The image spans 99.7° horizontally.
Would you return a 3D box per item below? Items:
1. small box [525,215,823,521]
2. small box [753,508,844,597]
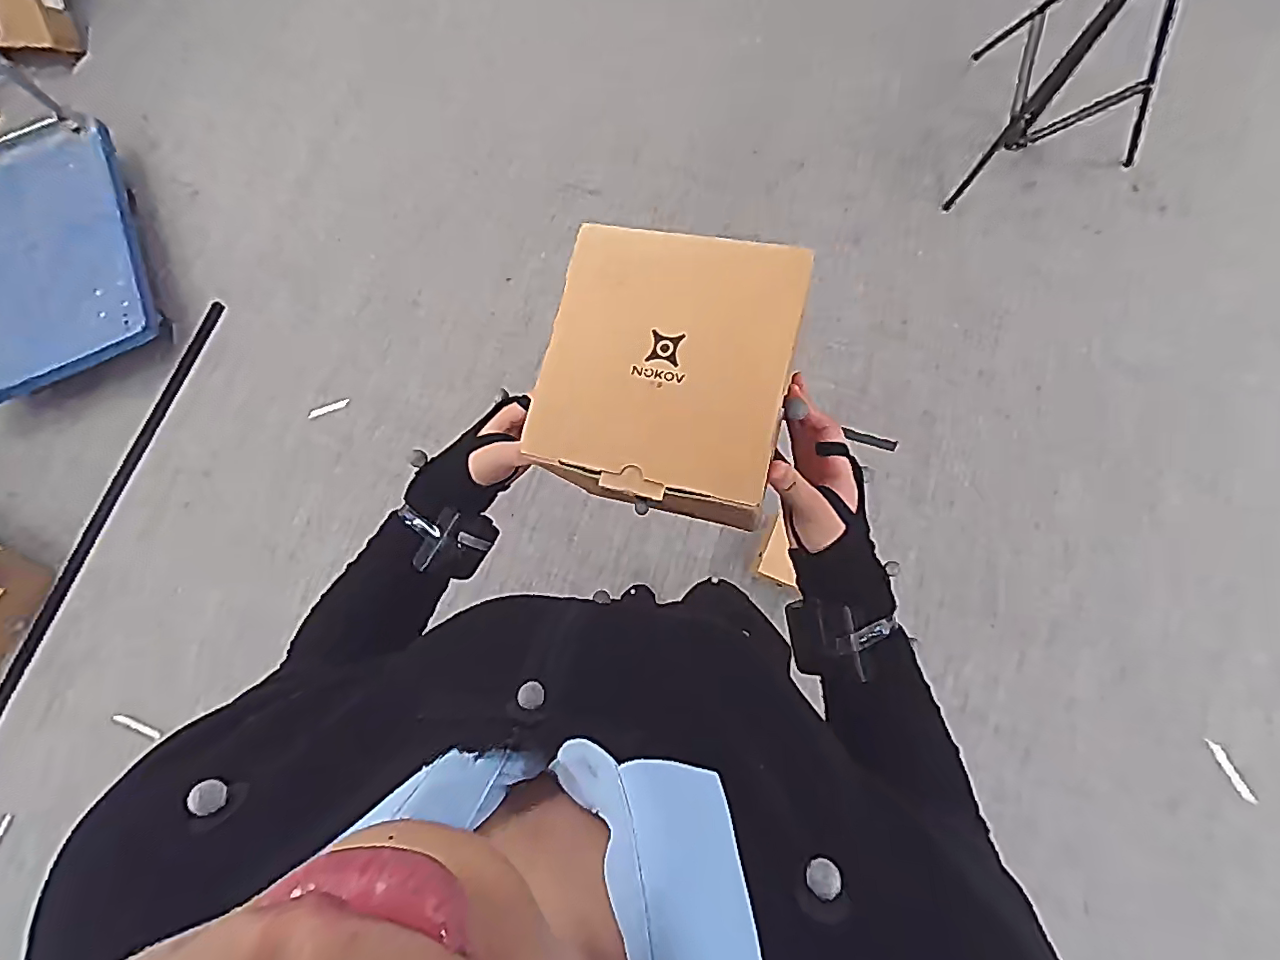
[{"bbox_3d":[0.034,-0.073,0.428,0.168,0.176,0.179,11,84,13],"label":"small box"},{"bbox_3d":[0.404,0.194,1.410,0.168,0.176,0.179,22,79,7],"label":"small box"}]
